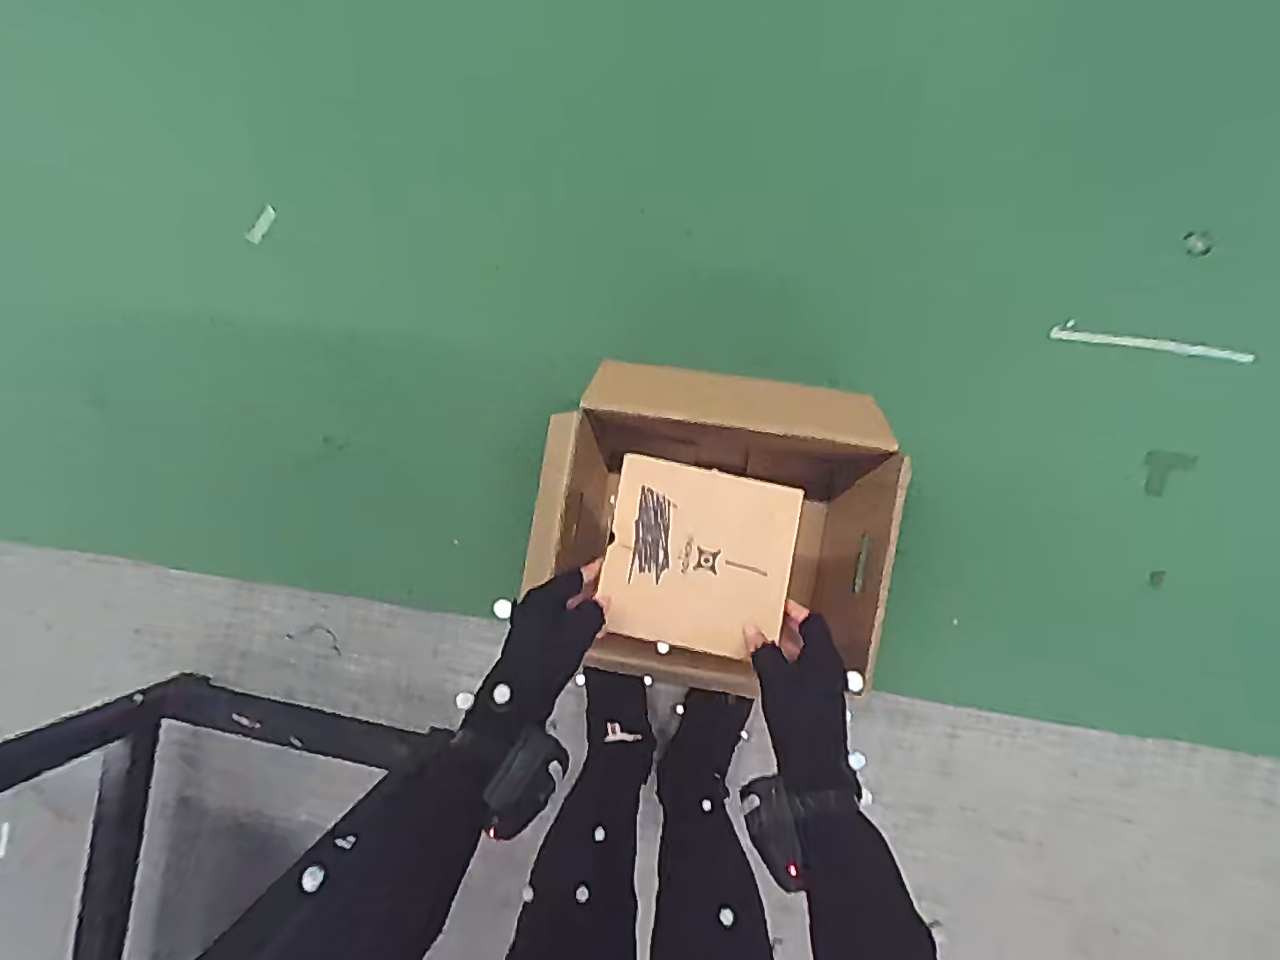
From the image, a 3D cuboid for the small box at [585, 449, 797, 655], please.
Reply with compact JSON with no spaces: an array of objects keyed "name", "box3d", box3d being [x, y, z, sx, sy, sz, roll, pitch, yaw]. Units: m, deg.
[{"name":"small box","box3d":[0.049,0.078,0.587,0.179,0.176,0.168,12,82,1]}]
